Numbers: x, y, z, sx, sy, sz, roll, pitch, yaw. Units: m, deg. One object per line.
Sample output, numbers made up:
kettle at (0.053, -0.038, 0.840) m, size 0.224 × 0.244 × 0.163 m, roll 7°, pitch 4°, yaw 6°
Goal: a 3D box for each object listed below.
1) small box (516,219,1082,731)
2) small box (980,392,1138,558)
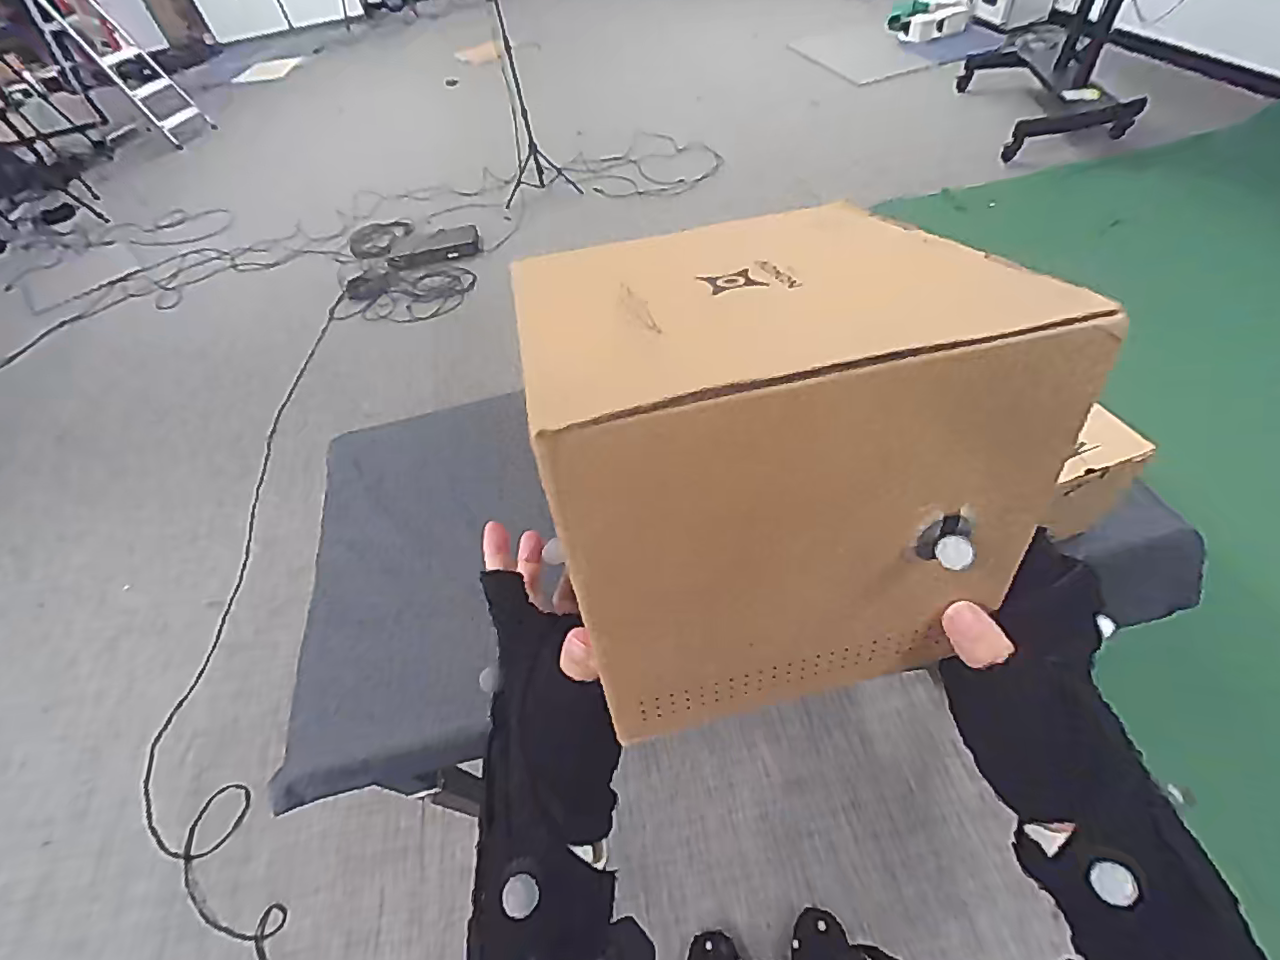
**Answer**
small box at (0.047, -0.011, 0.268) m, size 0.179 × 0.176 × 0.168 m, roll -14°, pitch 36°, yaw -7°
small box at (0.482, -0.014, 0.726) m, size 0.168 × 0.176 × 0.179 m, roll -17°, pitch 51°, yaw -5°
